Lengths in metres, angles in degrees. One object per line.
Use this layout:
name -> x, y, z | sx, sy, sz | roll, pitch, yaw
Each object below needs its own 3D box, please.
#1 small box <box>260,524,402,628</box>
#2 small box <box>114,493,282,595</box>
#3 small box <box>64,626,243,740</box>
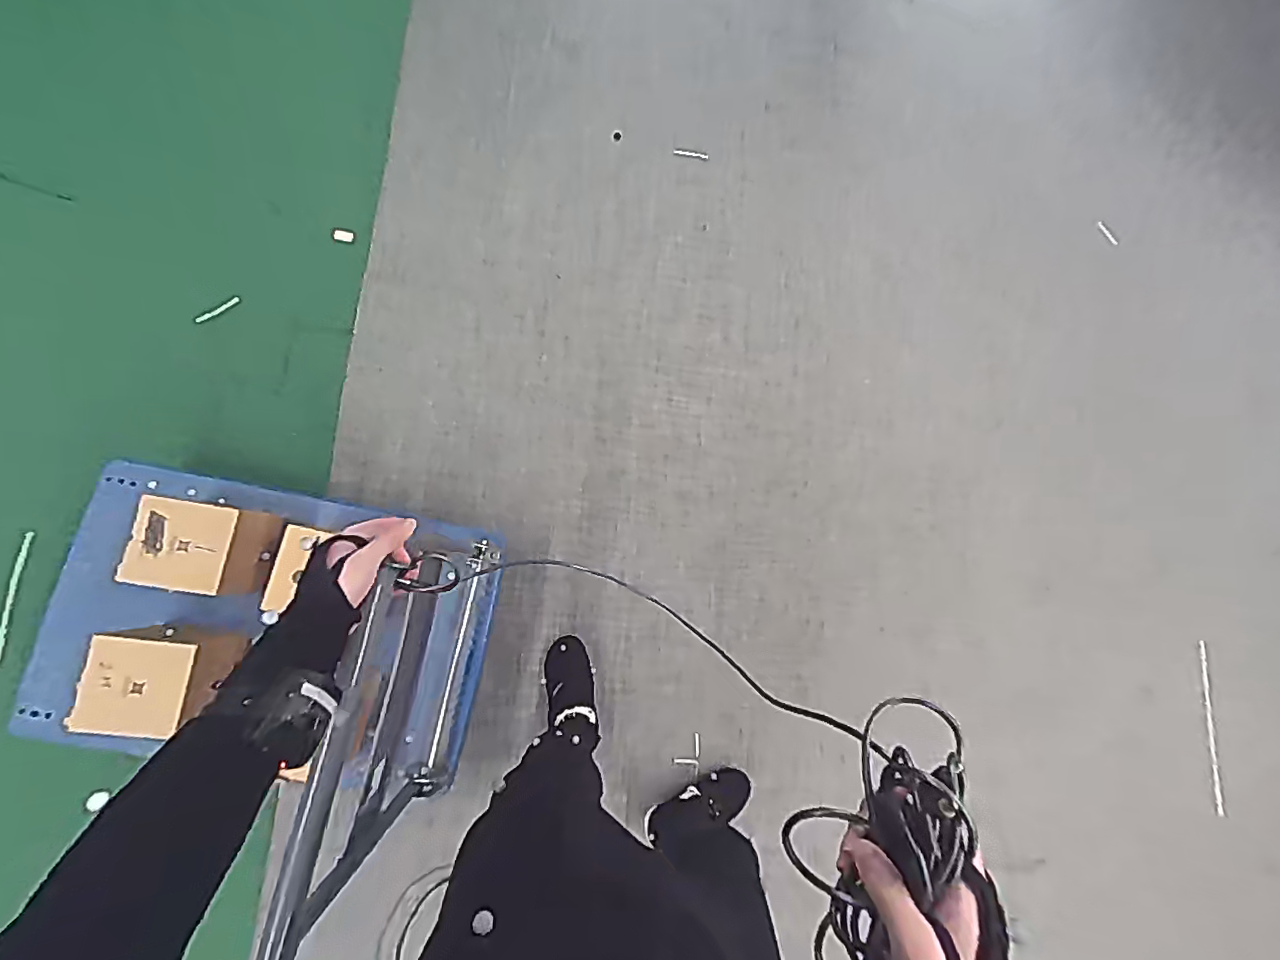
small box -> -0.617, 0.194, 1.103 | 0.179, 0.176, 0.168 | 14, 80, -6
small box -> -0.865, 0.130, 1.078 | 0.179, 0.176, 0.168 | 11, 81, -7
small box -> -0.910, 0.379, 1.034 | 0.179, 0.176, 0.168 | 9, 80, -6
